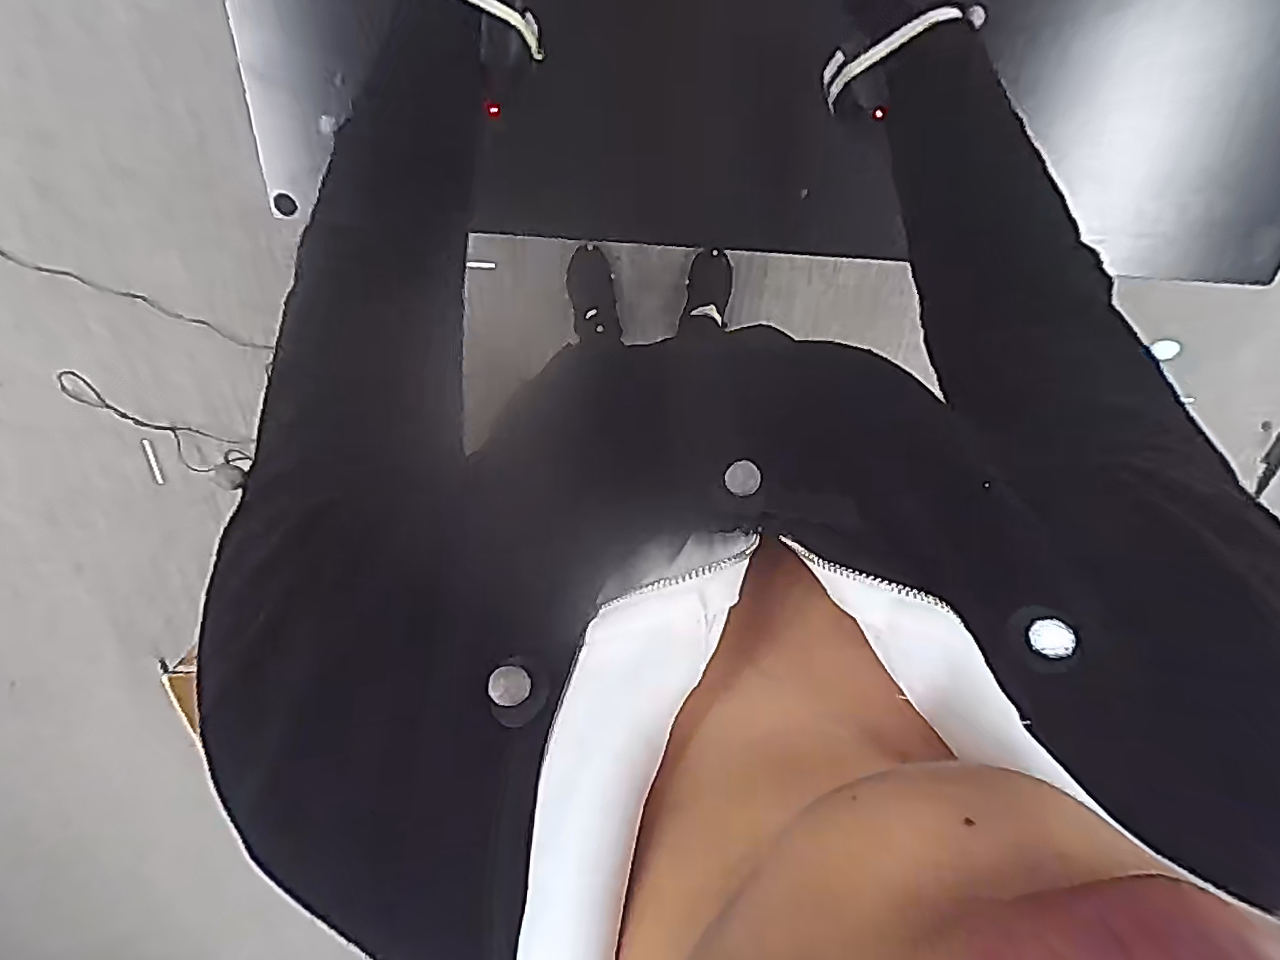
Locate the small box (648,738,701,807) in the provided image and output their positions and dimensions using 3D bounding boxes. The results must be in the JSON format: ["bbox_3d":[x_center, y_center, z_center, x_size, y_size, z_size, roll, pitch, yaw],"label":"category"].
[{"bbox_3d":[0.127,1.112,2.062,0.179,0.176,0.168,5,116,-3],"label":"small box"}]
